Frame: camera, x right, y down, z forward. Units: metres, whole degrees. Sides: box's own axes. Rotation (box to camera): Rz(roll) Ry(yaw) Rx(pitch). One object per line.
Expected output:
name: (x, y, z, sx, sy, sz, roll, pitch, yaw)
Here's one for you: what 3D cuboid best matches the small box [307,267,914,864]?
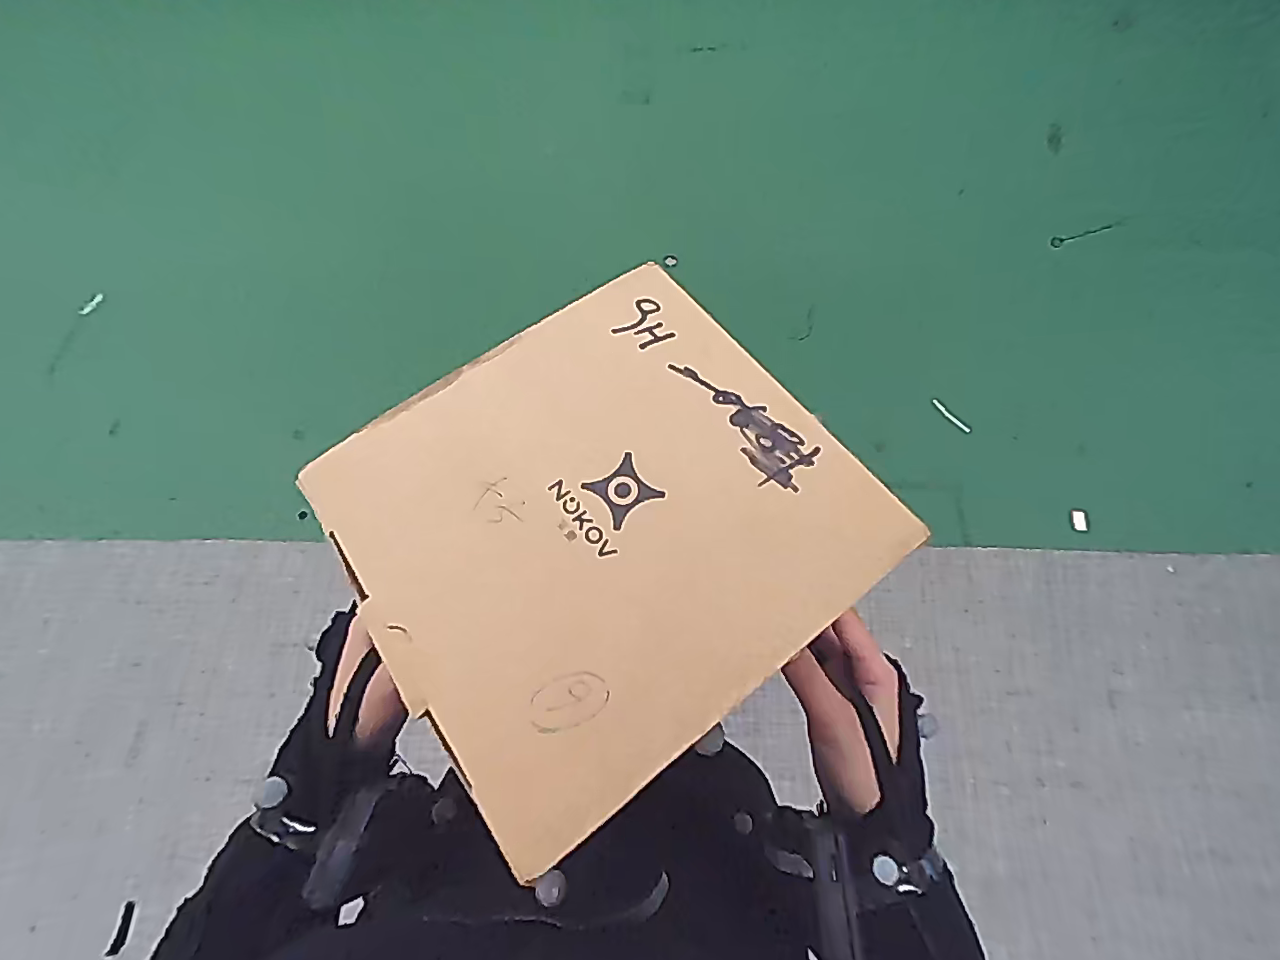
small box: (-0.013, 0.040, 0.275, 0.179, 0.176, 0.168, -35, 70, -12)
